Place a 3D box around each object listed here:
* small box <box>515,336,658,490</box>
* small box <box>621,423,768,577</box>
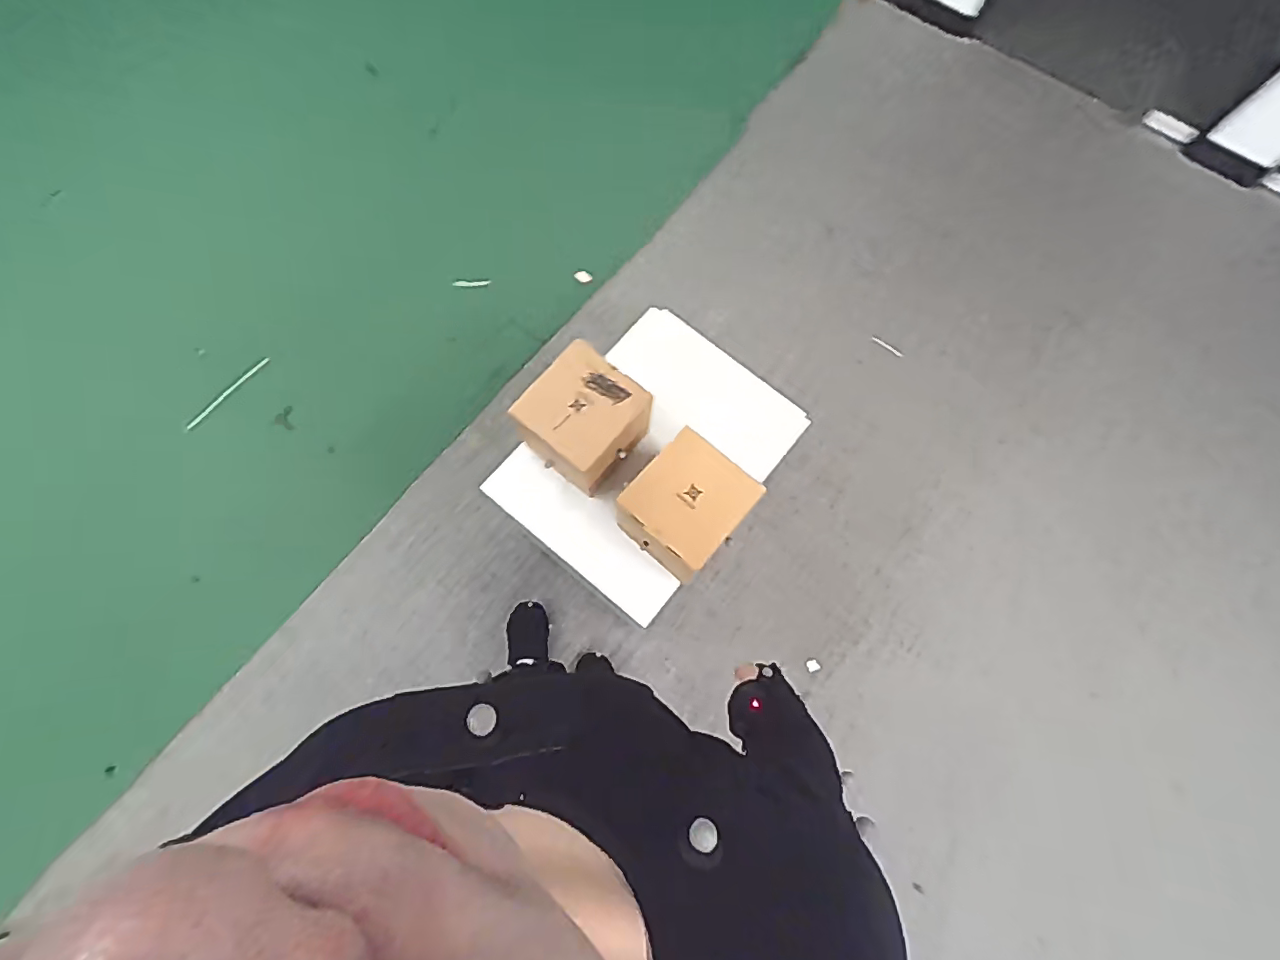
[{"bbox_3d":[-0.090,-0.109,0.948,0.168,0.176,0.179,40,78,9],"label":"small box"},{"bbox_3d":[0.081,0.042,0.911,0.168,0.176,0.179,41,78,10],"label":"small box"}]
